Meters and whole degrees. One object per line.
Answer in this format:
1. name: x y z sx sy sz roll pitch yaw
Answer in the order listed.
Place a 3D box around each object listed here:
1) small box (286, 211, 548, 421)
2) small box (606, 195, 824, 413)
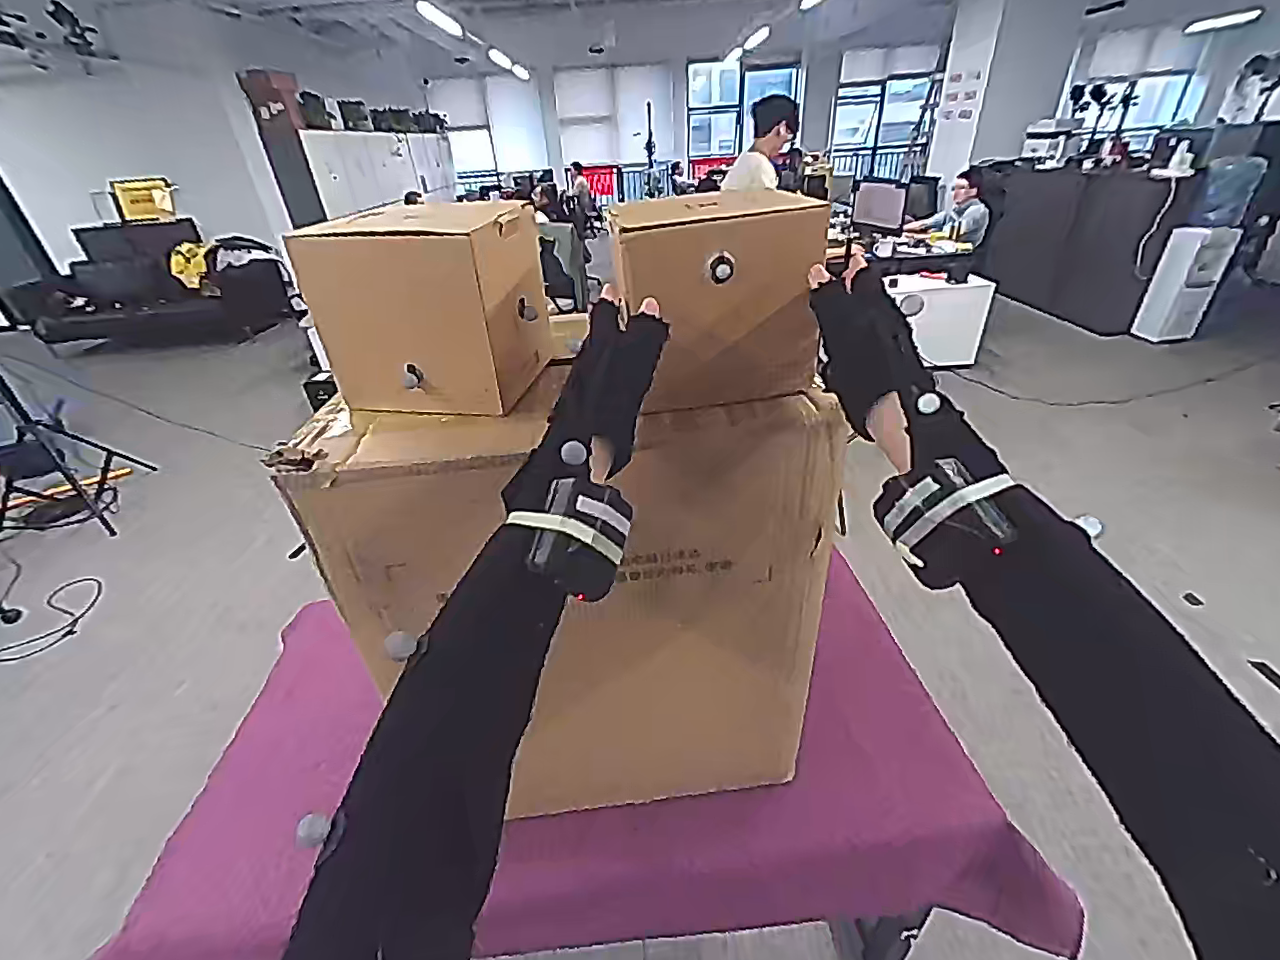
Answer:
1. small box: -0.205 -0.172 0.560 0.179 0.176 0.168 4 34 9
2. small box: 0.066 -0.177 0.543 0.179 0.176 0.168 -7 33 -2
